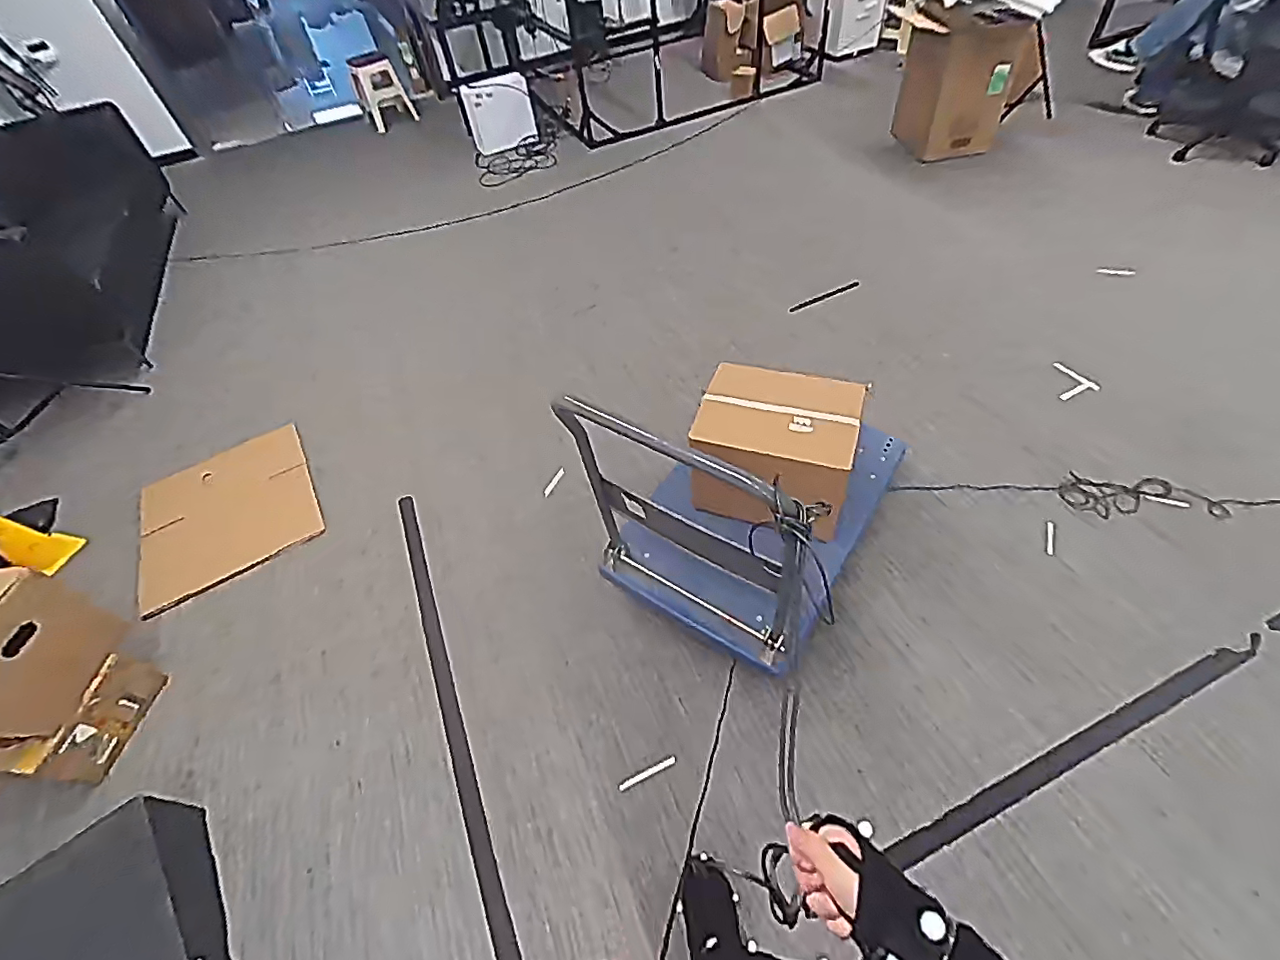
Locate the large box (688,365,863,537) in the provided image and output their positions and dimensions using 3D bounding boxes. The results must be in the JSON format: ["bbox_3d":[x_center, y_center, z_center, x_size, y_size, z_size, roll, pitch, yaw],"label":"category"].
[{"bbox_3d":[0.368,-0.084,1.519,0.408,0.320,0.320,13,55,17],"label":"large box"}]
